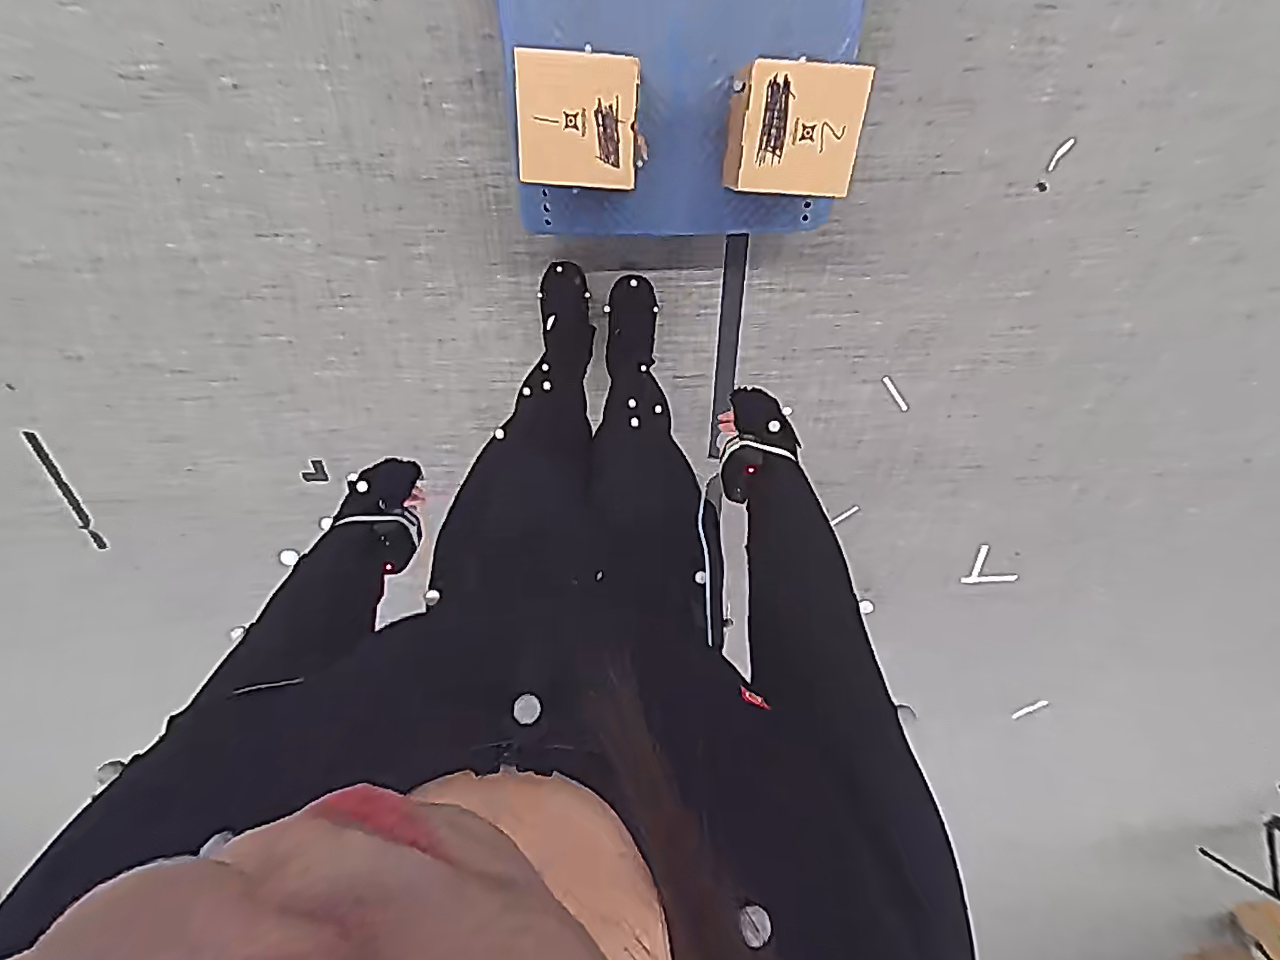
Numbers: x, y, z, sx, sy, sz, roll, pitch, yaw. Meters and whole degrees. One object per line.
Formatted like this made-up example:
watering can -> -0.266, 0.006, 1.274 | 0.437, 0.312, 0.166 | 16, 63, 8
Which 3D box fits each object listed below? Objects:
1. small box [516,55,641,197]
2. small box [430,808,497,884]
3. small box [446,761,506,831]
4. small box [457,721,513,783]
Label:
small box -> -0.092, -0.556, 0.858 | 0.179, 0.176, 0.168 | 3, 122, -2
small box -> -0.592, 1.242, 1.839 | 0.179, 0.176, 0.168 | 2, 123, -1
small box -> -0.589, 1.153, 1.975 | 0.179, 0.176, 0.168 | 4, 123, -2
small box -> -0.599, 1.065, 2.115 | 0.179, 0.176, 0.168 | 2, 122, -2
